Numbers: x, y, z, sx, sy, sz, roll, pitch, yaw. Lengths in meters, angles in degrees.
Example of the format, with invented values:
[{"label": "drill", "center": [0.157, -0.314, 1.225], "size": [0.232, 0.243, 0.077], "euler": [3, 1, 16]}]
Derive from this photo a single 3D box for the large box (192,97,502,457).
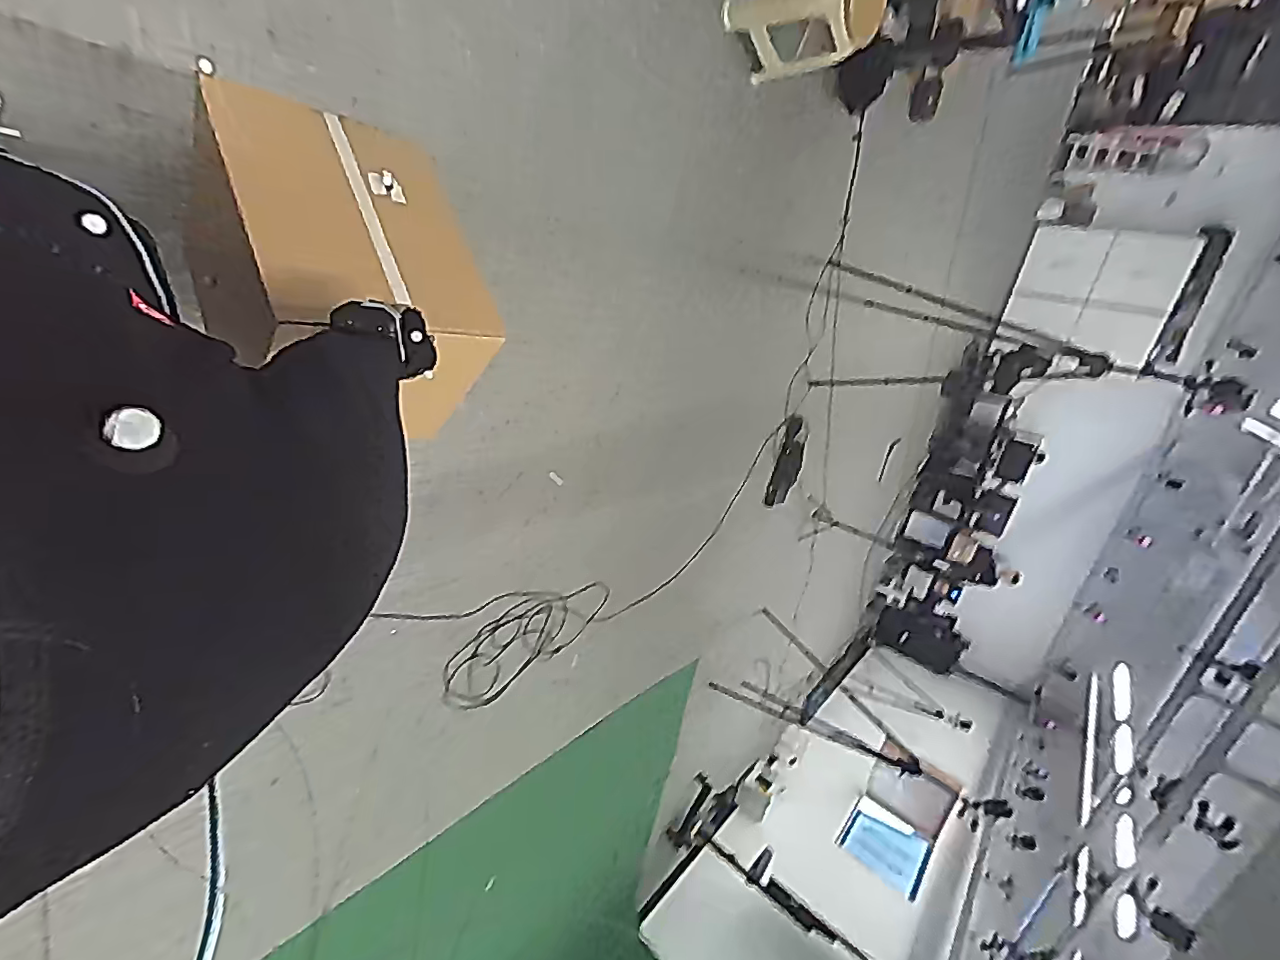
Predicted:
[{"label": "large box", "center": [-0.491, -0.296, 0.887], "size": [0.320, 0.408, 0.320], "euler": [-11, 160, -47]}]
